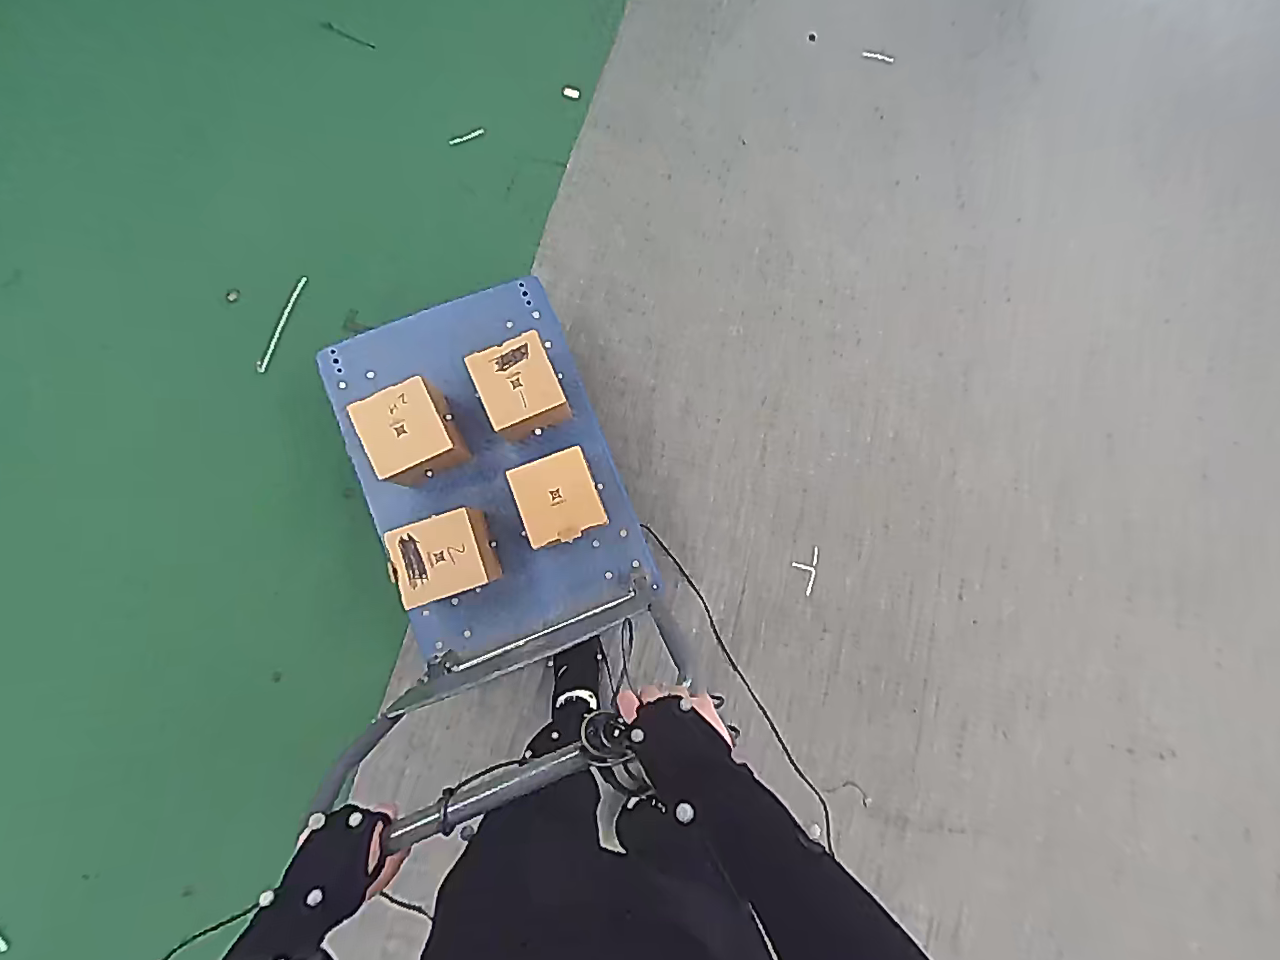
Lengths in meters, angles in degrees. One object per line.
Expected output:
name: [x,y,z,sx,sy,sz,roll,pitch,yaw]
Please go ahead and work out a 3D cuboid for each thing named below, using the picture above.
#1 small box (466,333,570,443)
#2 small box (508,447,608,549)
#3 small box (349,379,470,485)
small box: [-0.268,-0.201,1.227,0.168,0.176,0.179,-24,86,-4]
small box: [-0.178,0.045,1.207,0.168,0.176,0.179,-21,86,-5]
small box: [-0.502,-0.097,1.205,0.168,0.176,0.179,-25,86,-6]
